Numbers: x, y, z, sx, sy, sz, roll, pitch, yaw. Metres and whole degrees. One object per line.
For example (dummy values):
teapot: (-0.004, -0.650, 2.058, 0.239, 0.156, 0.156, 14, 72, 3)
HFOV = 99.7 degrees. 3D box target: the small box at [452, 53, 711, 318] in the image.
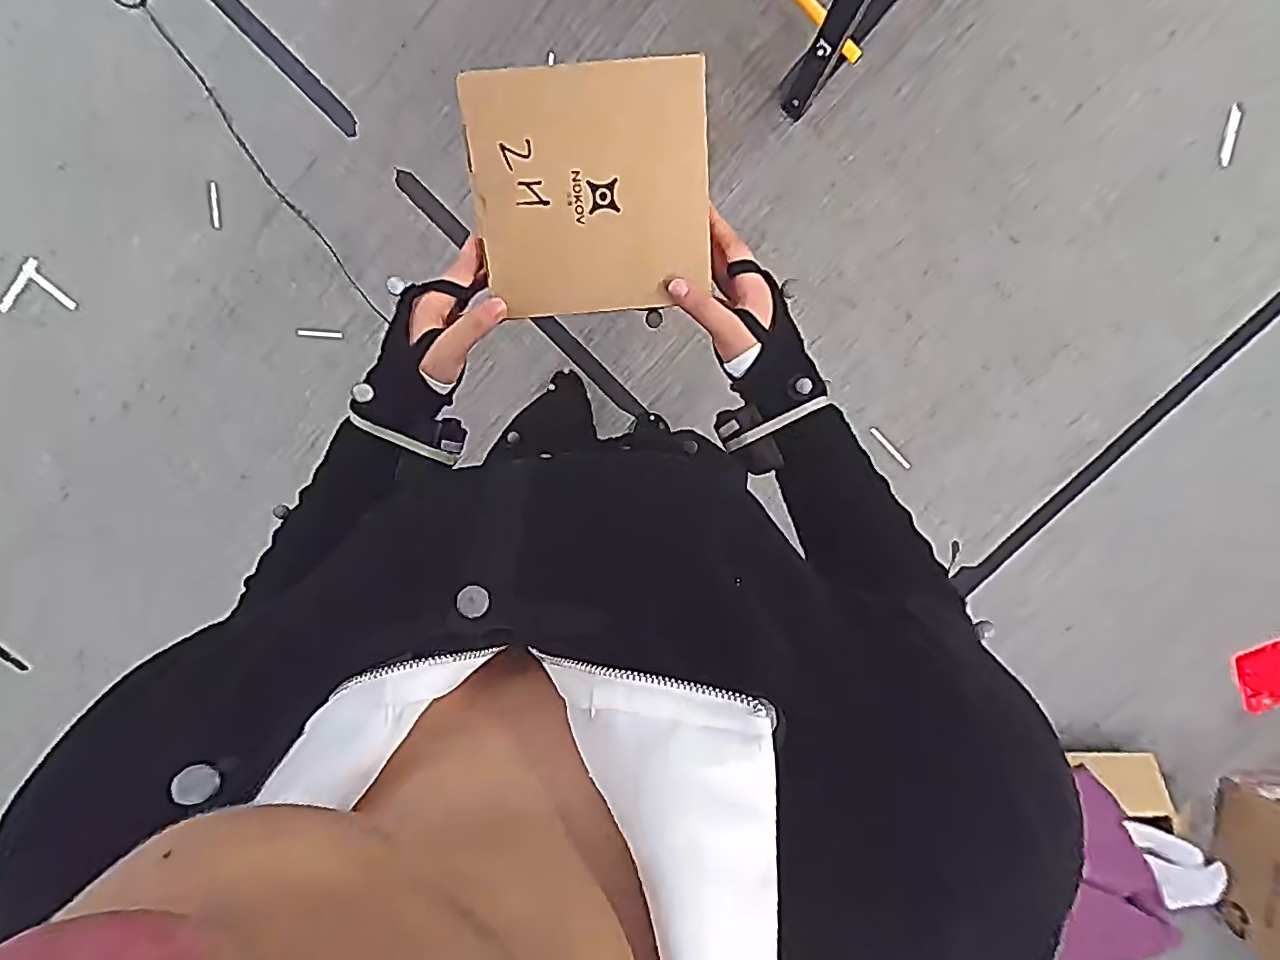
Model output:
small box: (-0.040, -0.235, 0.467, 0.179, 0.176, 0.168, -5, 109, 0)
